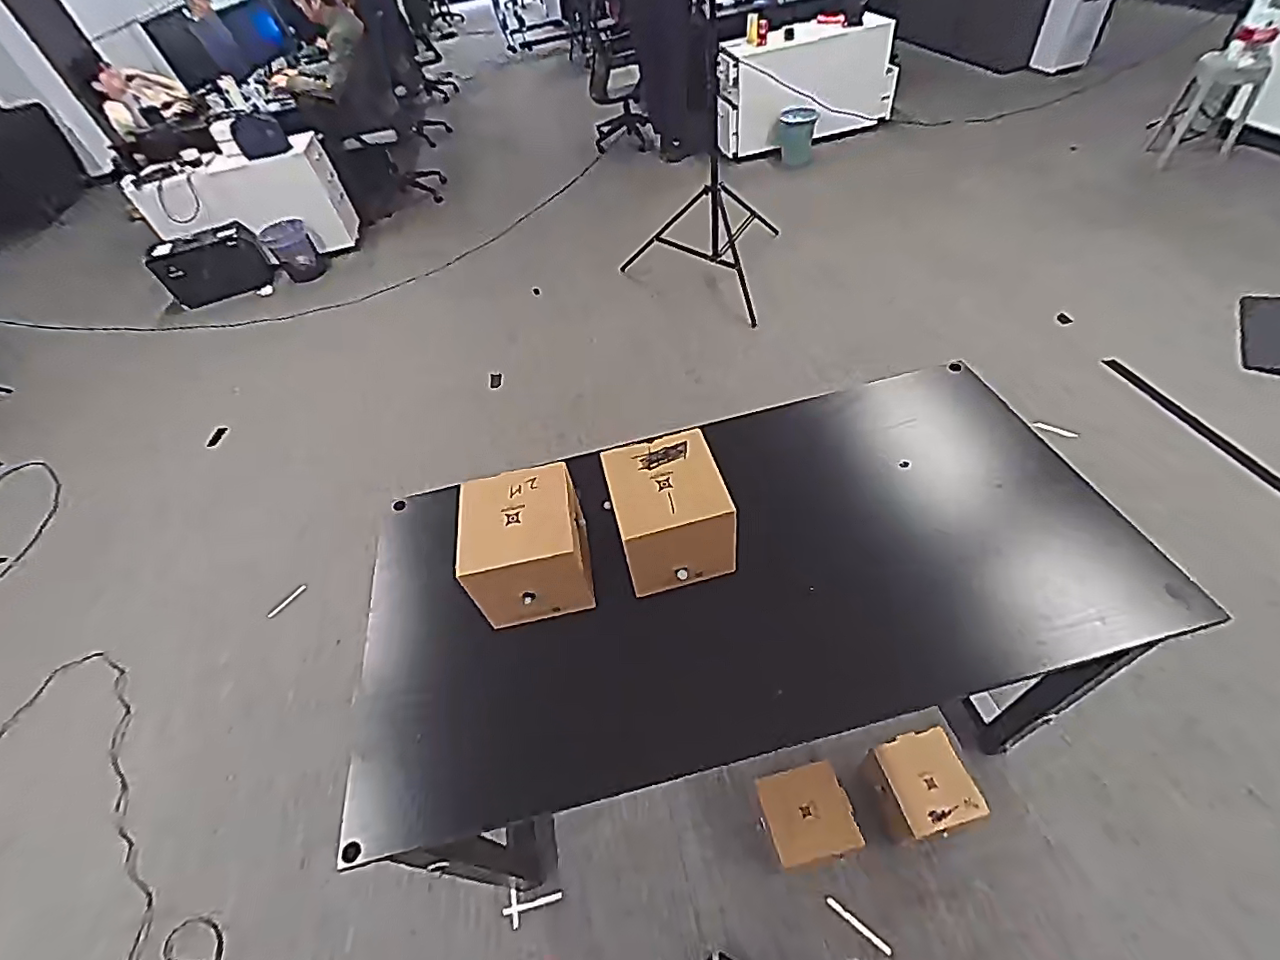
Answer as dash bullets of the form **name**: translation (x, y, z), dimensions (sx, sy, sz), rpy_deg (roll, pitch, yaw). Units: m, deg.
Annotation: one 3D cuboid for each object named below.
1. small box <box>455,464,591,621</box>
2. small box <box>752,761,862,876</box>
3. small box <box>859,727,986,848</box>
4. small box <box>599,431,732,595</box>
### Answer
- **small box**: translation (-0.178, 0.106, 0.852), dimensions (0.168, 0.176, 0.179), rpy_deg (-11, 49, -2)
- **small box**: translation (0.354, 0.744, 1.186), dimensions (0.179, 0.176, 0.168), rpy_deg (-15, 48, -3)
- **small box**: translation (0.609, 0.680, 1.194), dimensions (0.168, 0.176, 0.179), rpy_deg (-16, 49, -3)
- **small box**: translation (0.041, 0.054, 0.861), dimensions (0.168, 0.176, 0.179), rpy_deg (-15, 50, -3)
